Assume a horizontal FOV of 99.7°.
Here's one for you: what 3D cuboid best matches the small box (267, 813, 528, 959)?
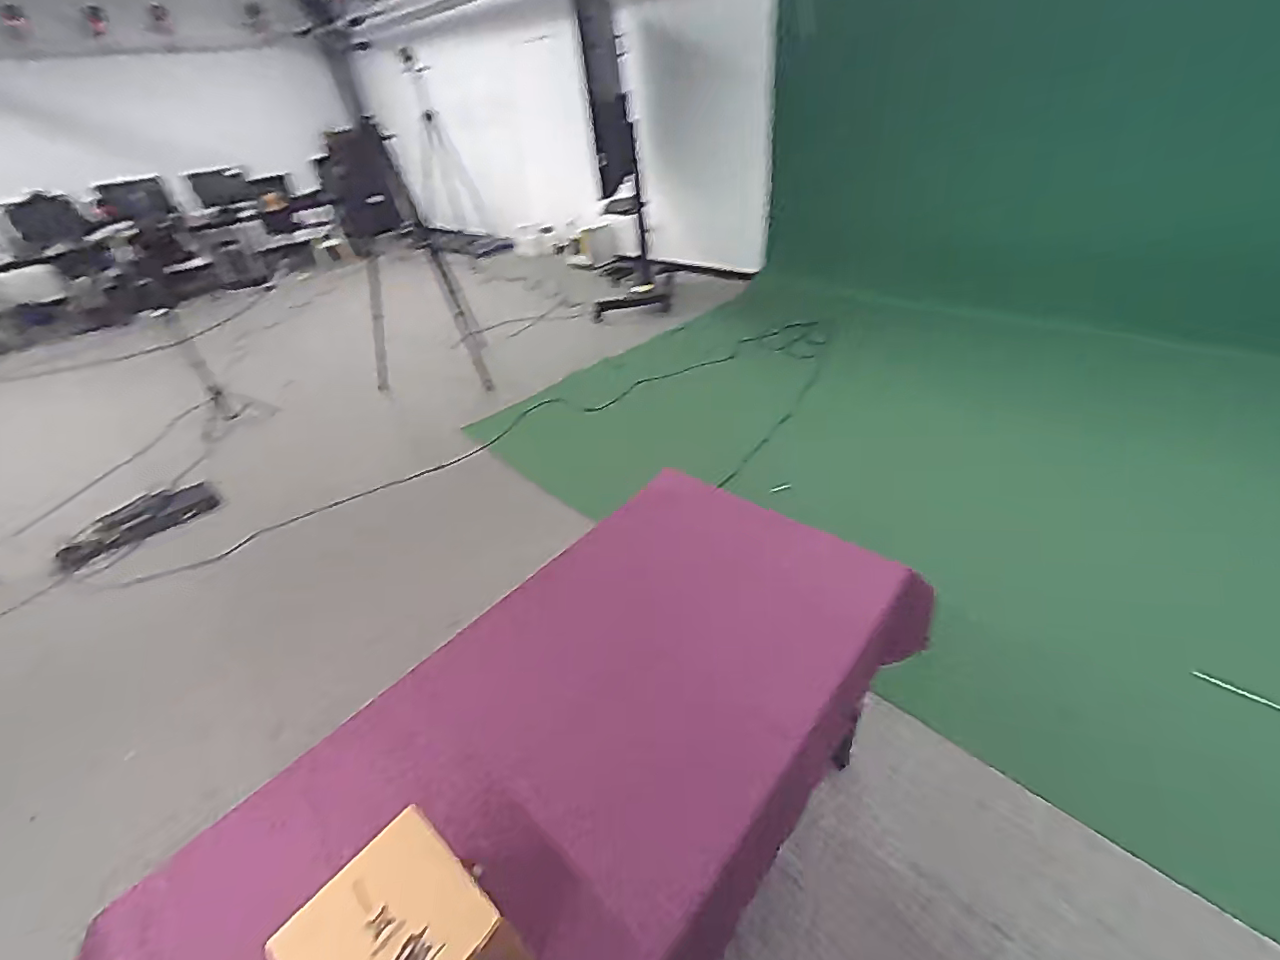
[{"bbox_3d":[-0.244,0.515,0.578,0.179,0.176,0.168,21,45,35],"label":"small box"}]
